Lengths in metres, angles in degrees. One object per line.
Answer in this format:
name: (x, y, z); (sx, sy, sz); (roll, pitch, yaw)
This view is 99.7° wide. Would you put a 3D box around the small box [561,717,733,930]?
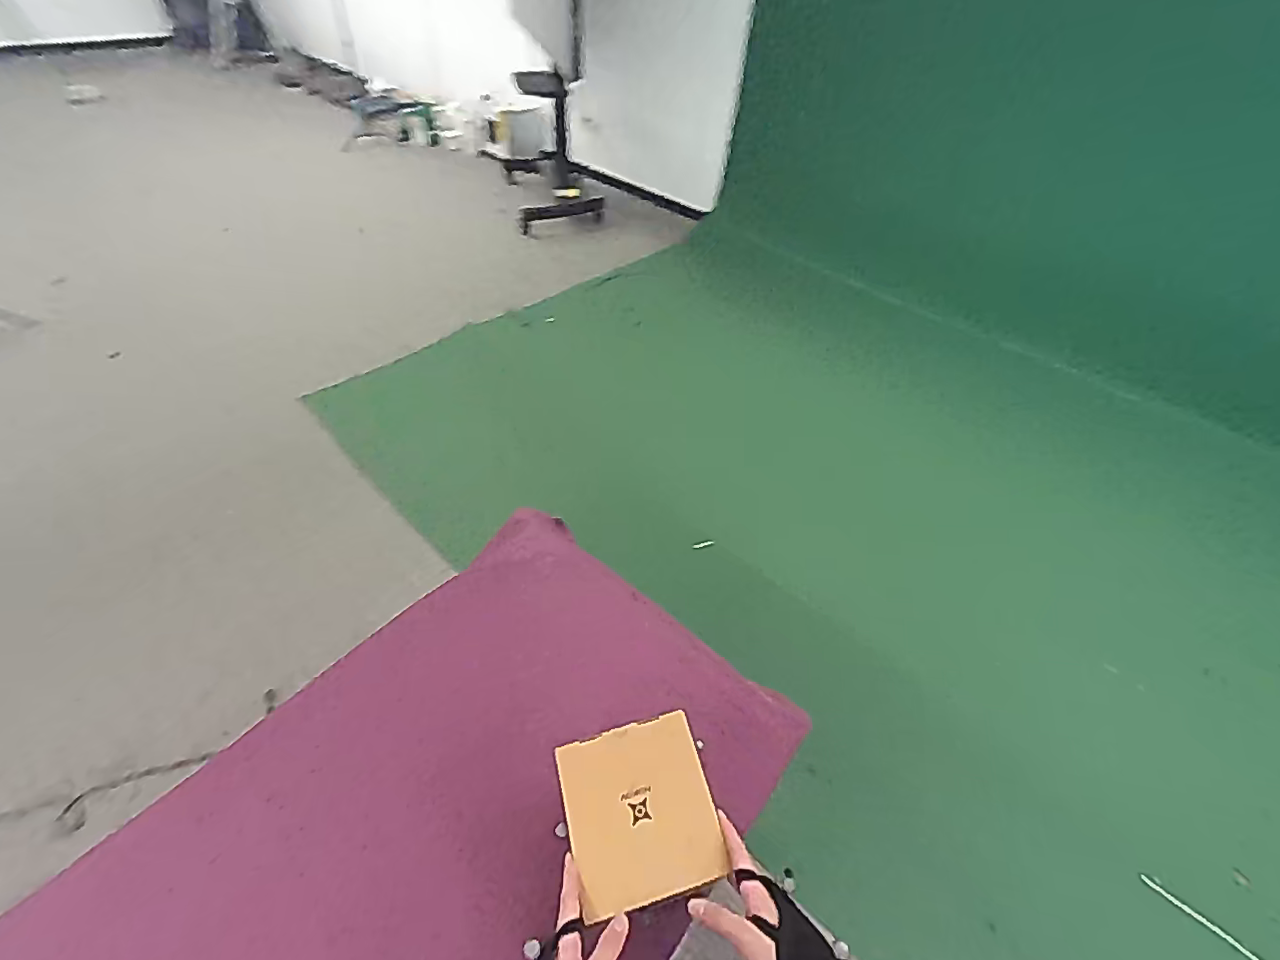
small box: (0.005, 0.426, 0.670); (0.168, 0.176, 0.179); (-12, 49, -8)
